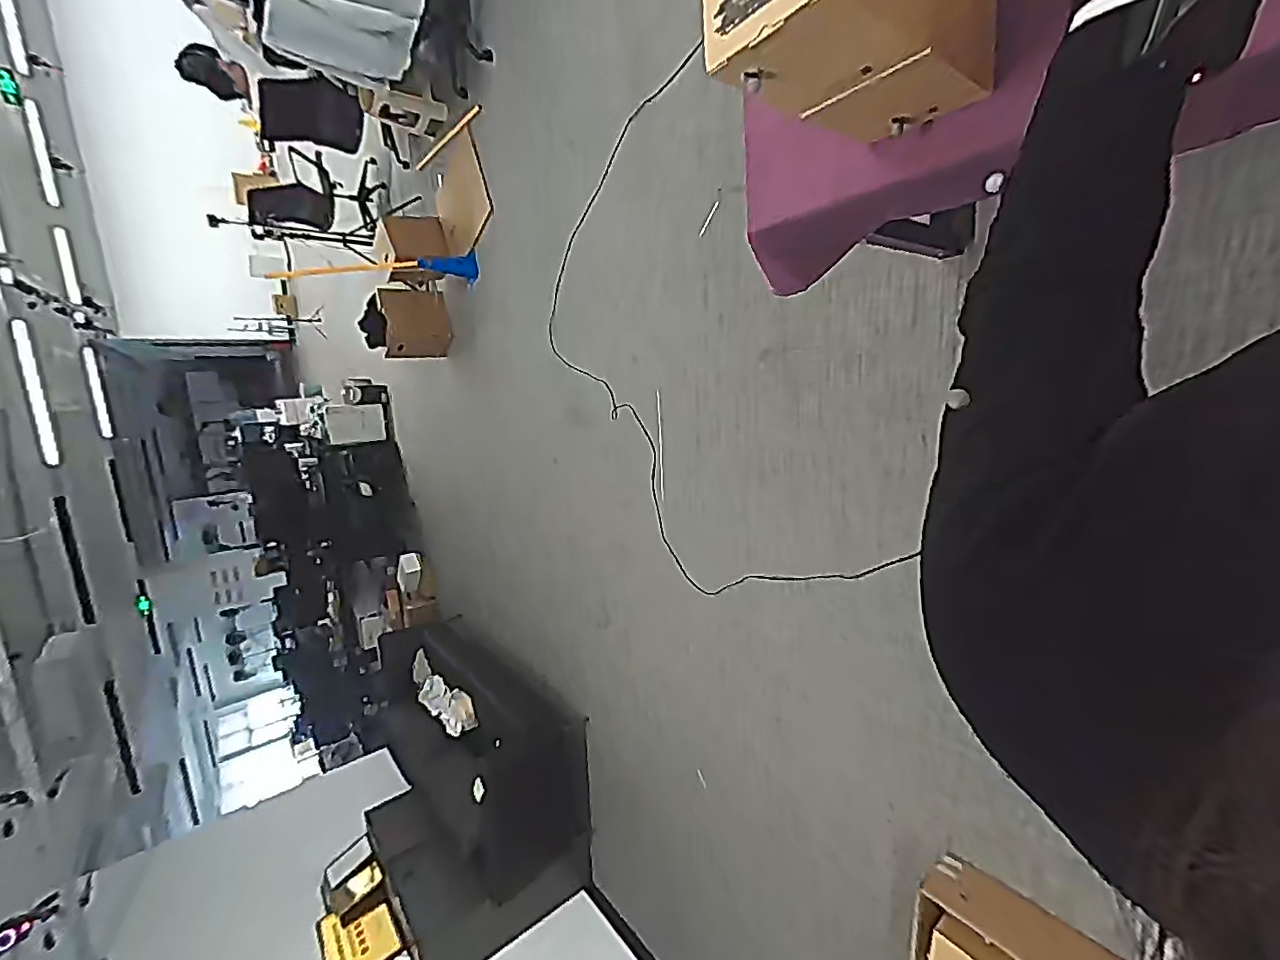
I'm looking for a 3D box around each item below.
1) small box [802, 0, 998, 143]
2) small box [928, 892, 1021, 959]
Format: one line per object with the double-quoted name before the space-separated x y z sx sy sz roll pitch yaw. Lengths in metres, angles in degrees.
"small box" 0.321 -0.557 0.672 0.168 0.176 0.179 10 107 52
"small box" 0.921 1.303 1.490 0.168 0.176 0.179 16 111 50
